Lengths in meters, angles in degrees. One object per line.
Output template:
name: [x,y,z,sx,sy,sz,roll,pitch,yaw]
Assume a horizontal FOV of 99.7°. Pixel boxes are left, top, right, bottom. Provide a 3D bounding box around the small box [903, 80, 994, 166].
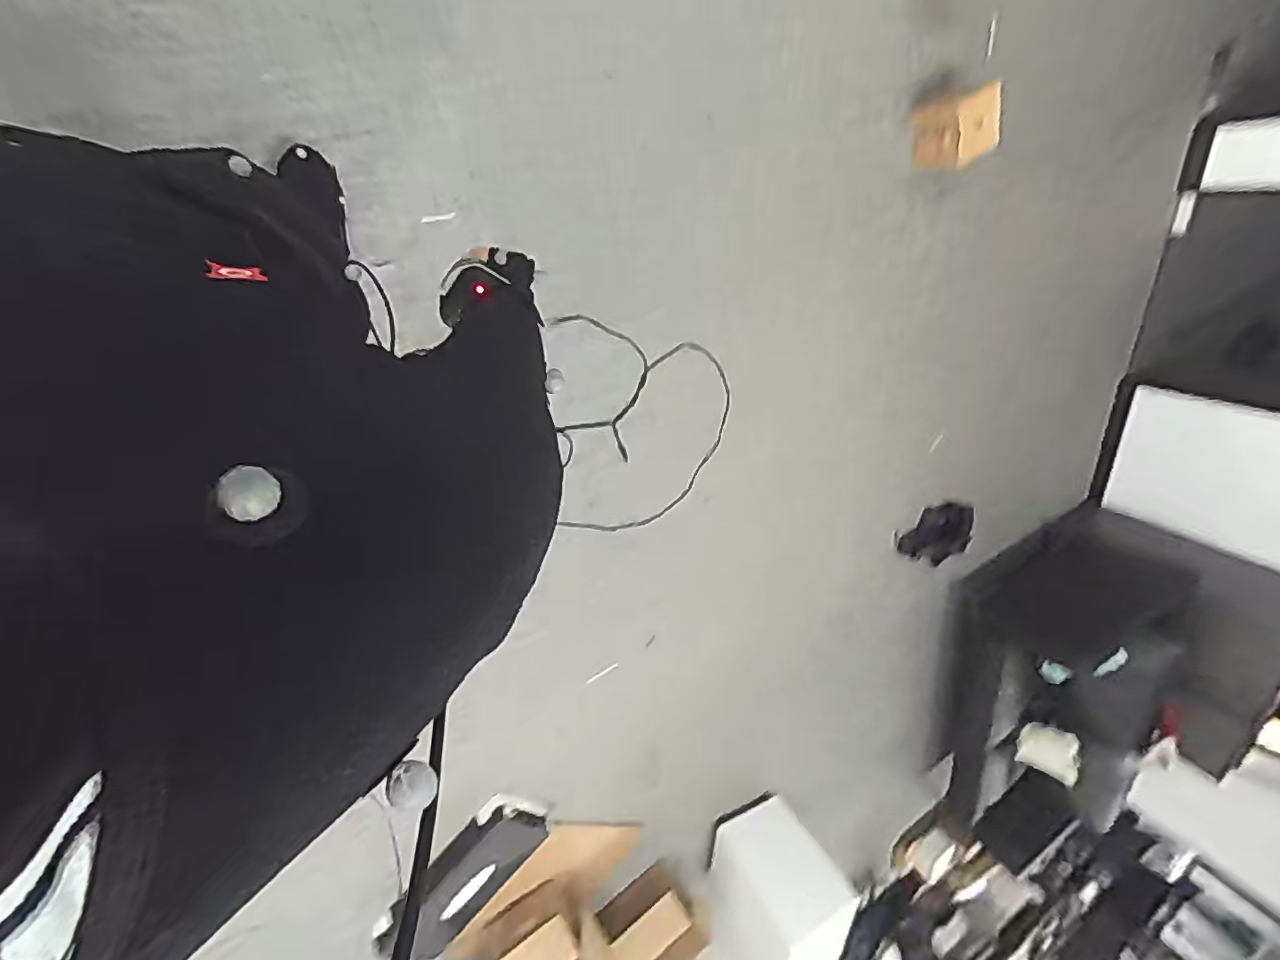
small box: [0.922,-1.067,1.625,0.179,0.176,0.168,-33,126,-12]
